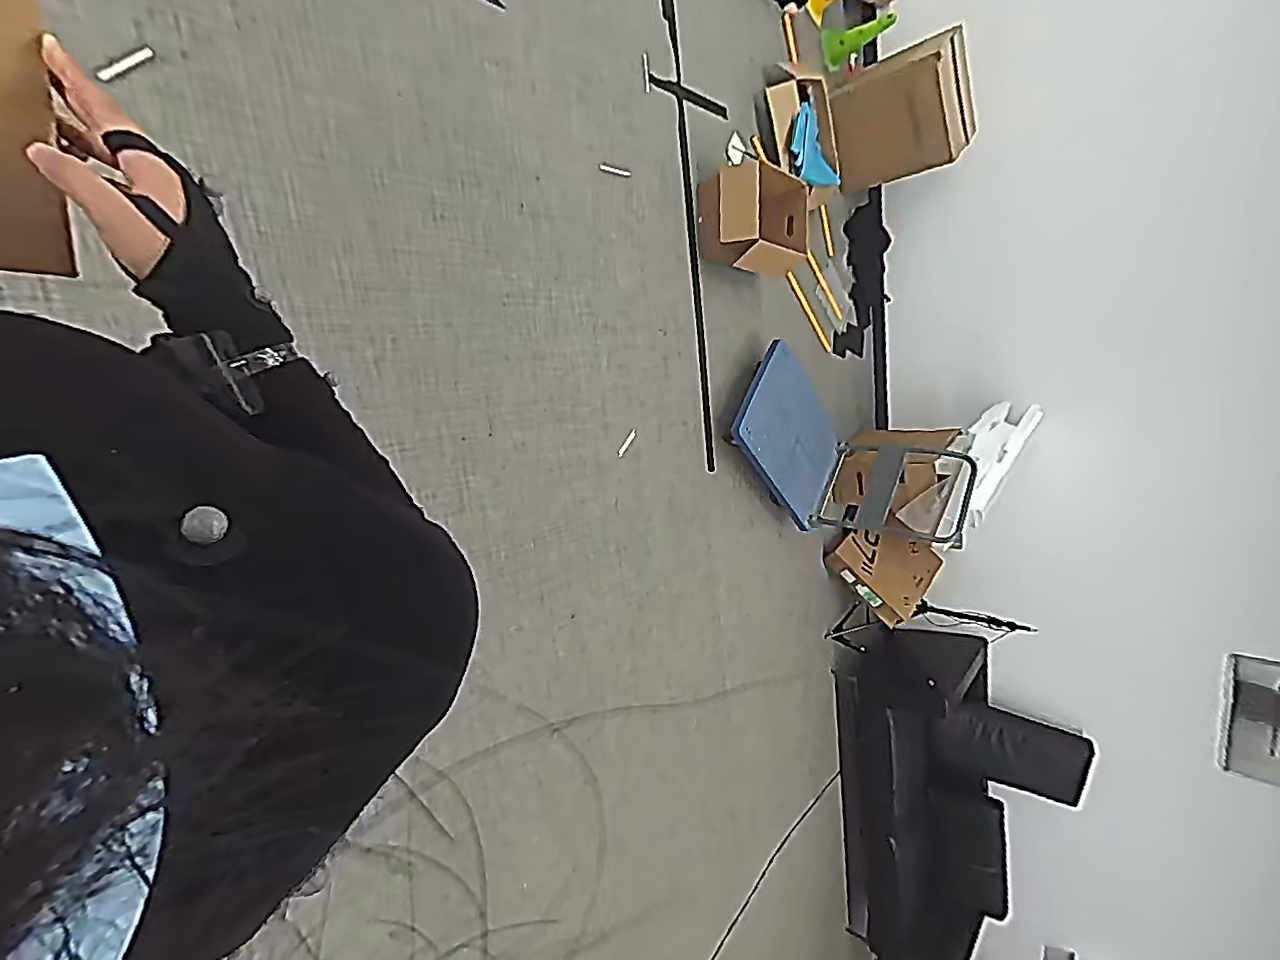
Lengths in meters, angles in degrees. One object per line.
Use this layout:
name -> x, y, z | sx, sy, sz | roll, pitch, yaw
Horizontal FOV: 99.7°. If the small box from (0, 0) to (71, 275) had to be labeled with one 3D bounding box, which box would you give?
small box -> -0.478, -0.251, 0.328 | 0.168, 0.176, 0.179 | -10, 130, -47
